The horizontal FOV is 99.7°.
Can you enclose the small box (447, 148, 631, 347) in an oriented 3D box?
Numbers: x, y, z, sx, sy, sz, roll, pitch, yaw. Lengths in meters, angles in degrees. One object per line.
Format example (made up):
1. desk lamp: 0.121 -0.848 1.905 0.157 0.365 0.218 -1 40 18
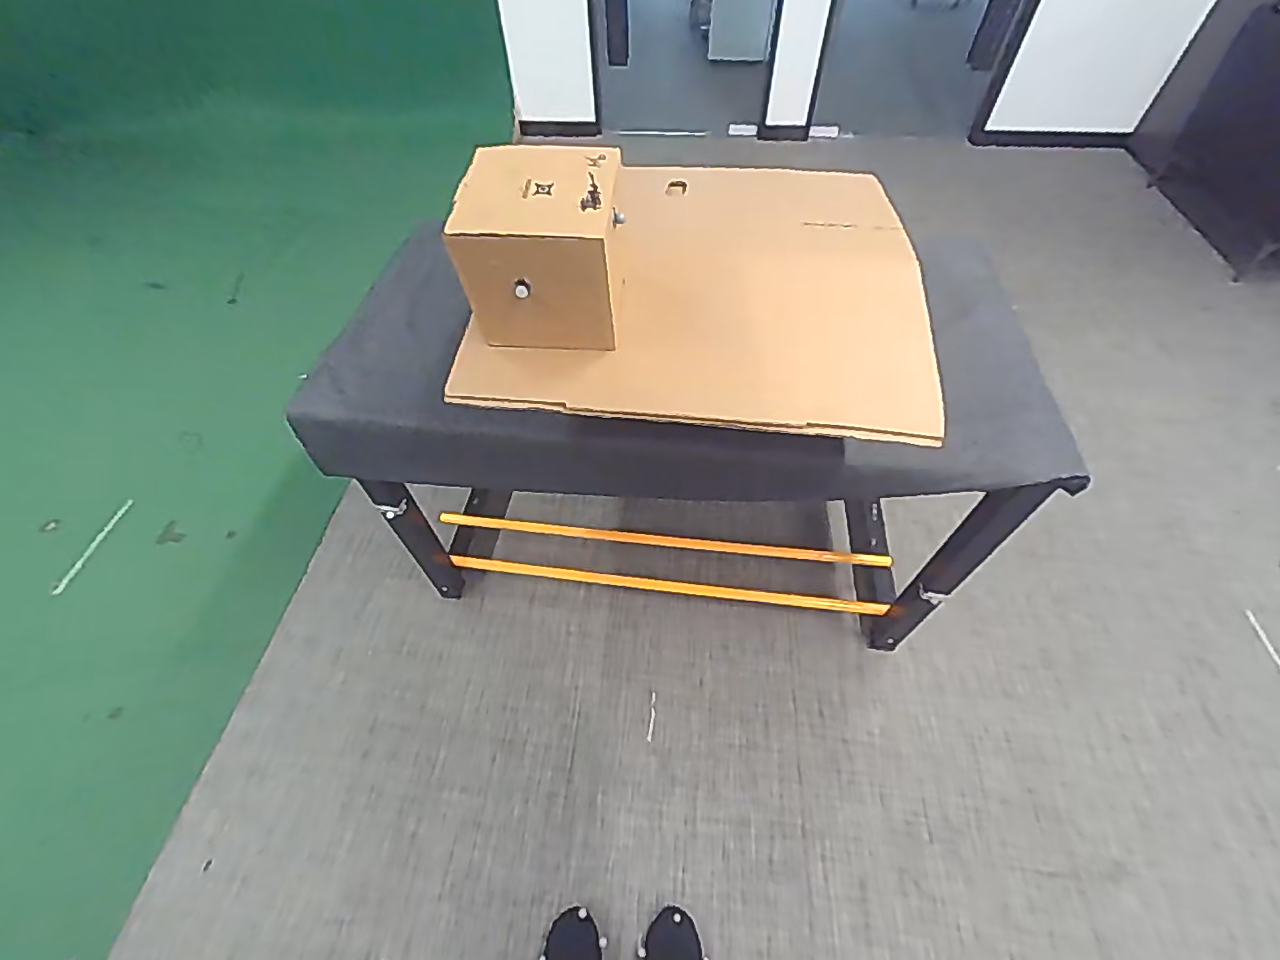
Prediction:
1. small box: -0.110 -0.284 0.677 0.179 0.176 0.168 3 61 5
